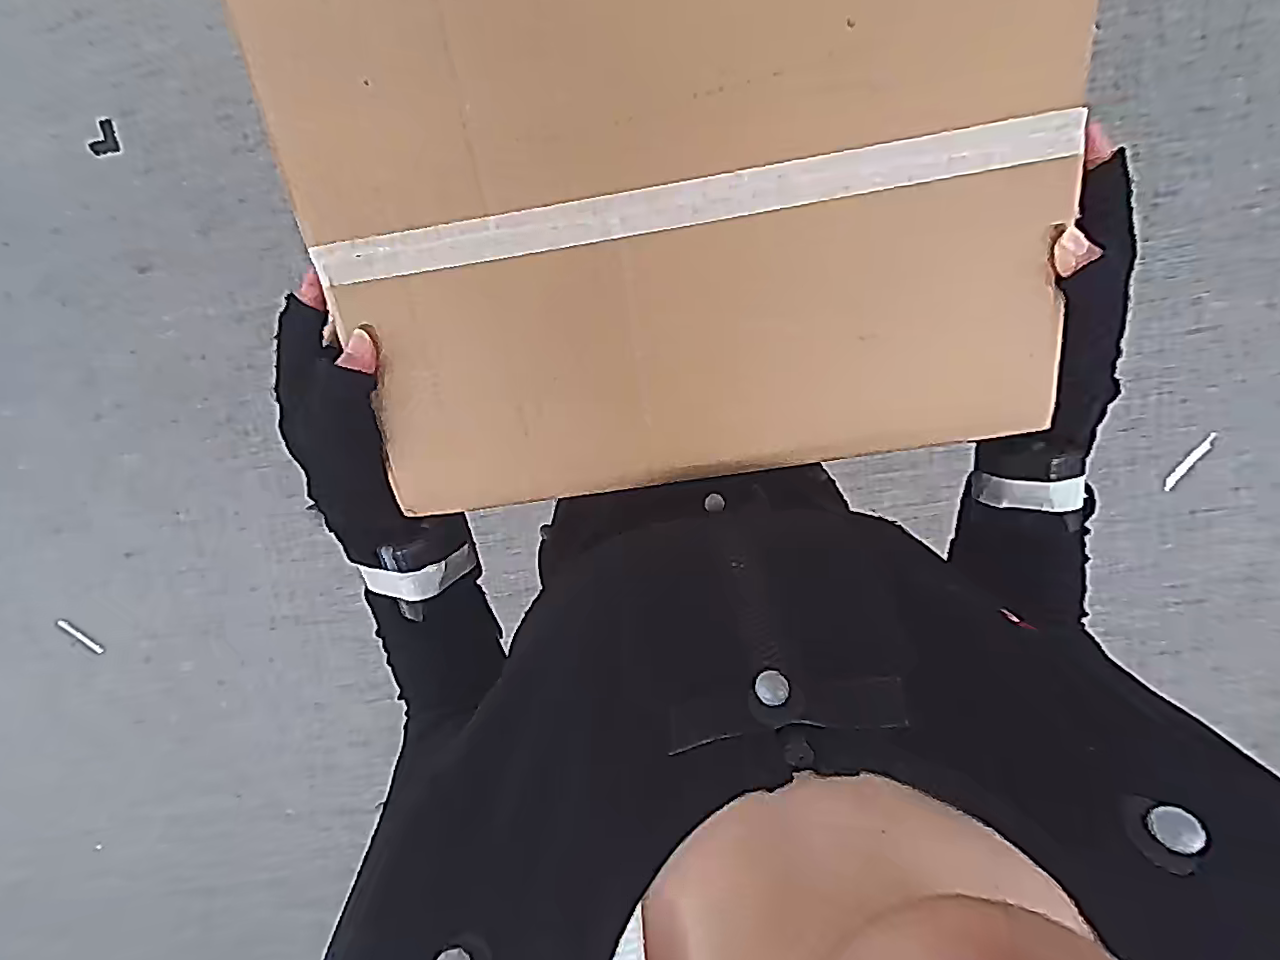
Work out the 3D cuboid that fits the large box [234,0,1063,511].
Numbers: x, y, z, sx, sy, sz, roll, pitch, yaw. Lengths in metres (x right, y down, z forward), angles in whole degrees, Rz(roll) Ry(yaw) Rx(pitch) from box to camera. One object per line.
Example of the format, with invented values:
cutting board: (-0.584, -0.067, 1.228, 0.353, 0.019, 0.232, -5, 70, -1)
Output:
large box: (0.020, -0.204, 0.435, 0.408, 0.320, 0.320, -8, 111, 4)
